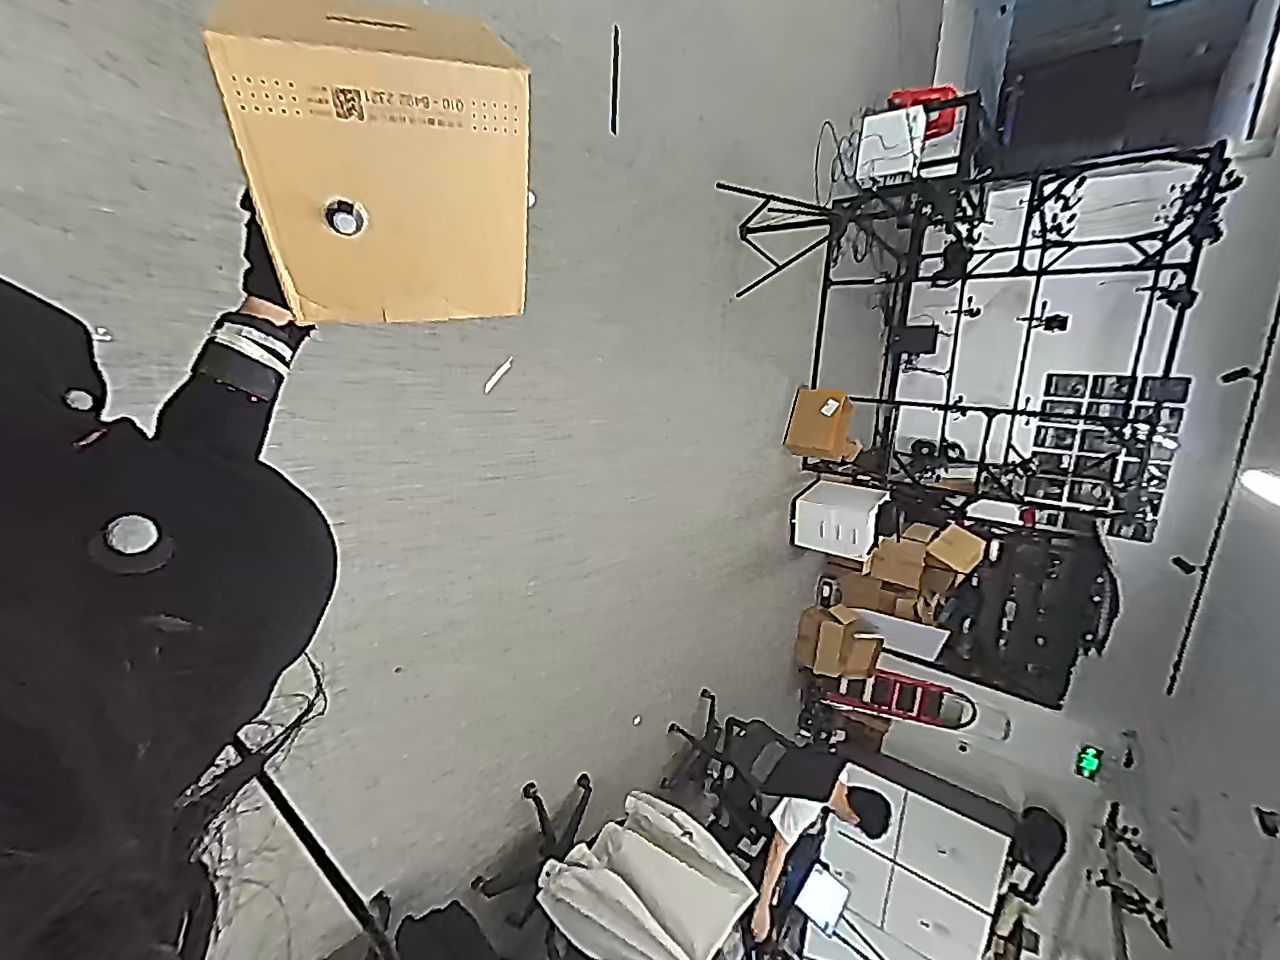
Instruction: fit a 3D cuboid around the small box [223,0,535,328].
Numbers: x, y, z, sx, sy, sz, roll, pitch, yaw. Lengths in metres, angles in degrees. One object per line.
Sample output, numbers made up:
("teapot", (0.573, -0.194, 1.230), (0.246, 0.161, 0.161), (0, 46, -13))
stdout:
("small box", (-0.178, -0.233, 0.398), (0.168, 0.179, 0.176), (-8, 140, -23))
